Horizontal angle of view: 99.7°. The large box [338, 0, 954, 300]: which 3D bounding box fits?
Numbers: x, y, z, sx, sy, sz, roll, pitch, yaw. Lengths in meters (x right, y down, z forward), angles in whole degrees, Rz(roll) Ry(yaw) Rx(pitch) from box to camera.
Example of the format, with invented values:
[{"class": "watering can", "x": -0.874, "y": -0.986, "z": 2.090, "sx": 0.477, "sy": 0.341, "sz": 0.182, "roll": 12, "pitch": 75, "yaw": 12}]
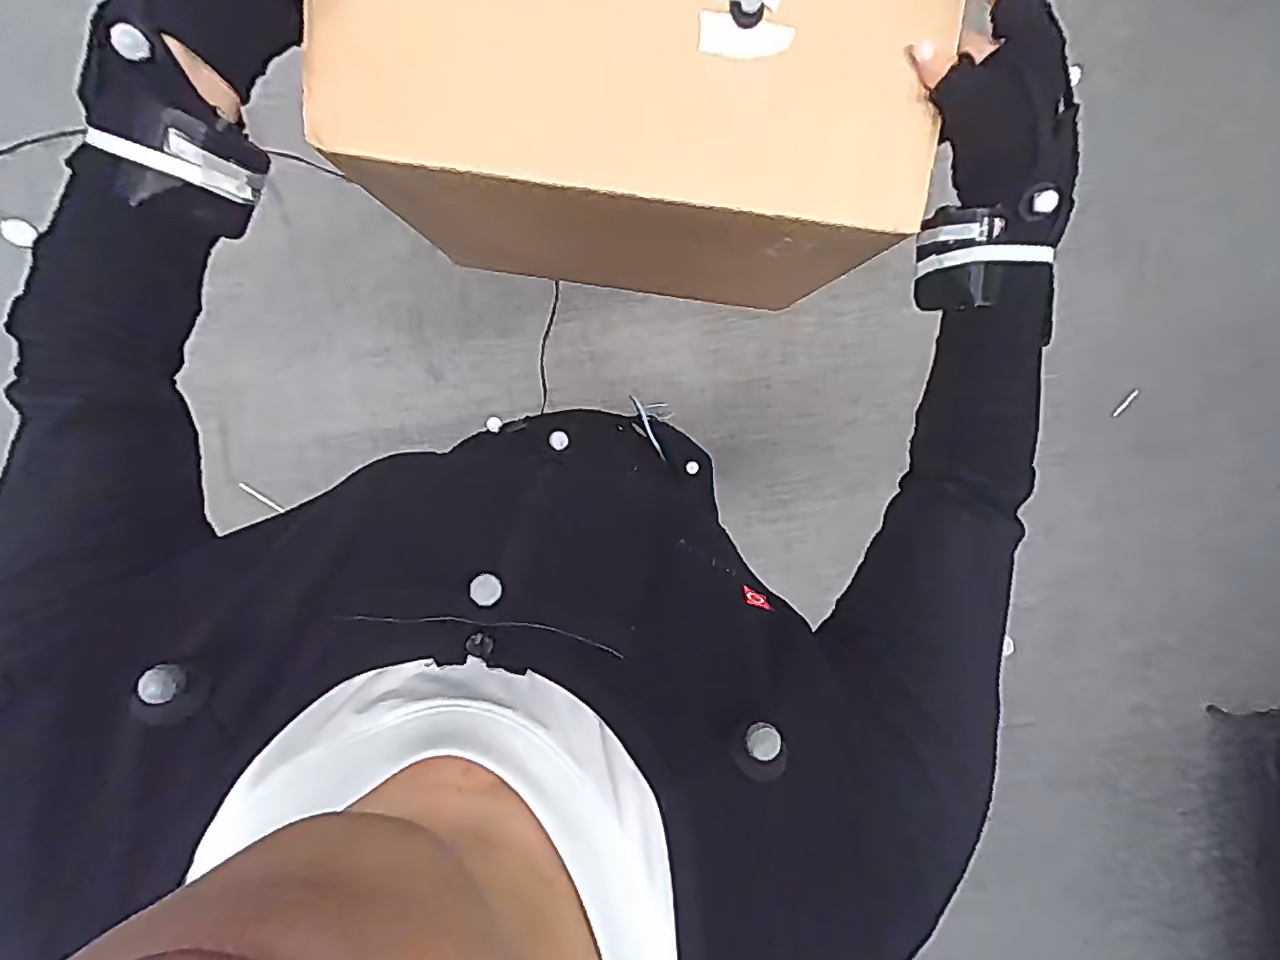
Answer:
[{"class": "large box", "x": 0.005, "y": -0.368, "z": 0.493, "sx": 0.408, "sy": 0.320, "sz": 0.320, "roll": 6, "pitch": 99, "yaw": -3}]
